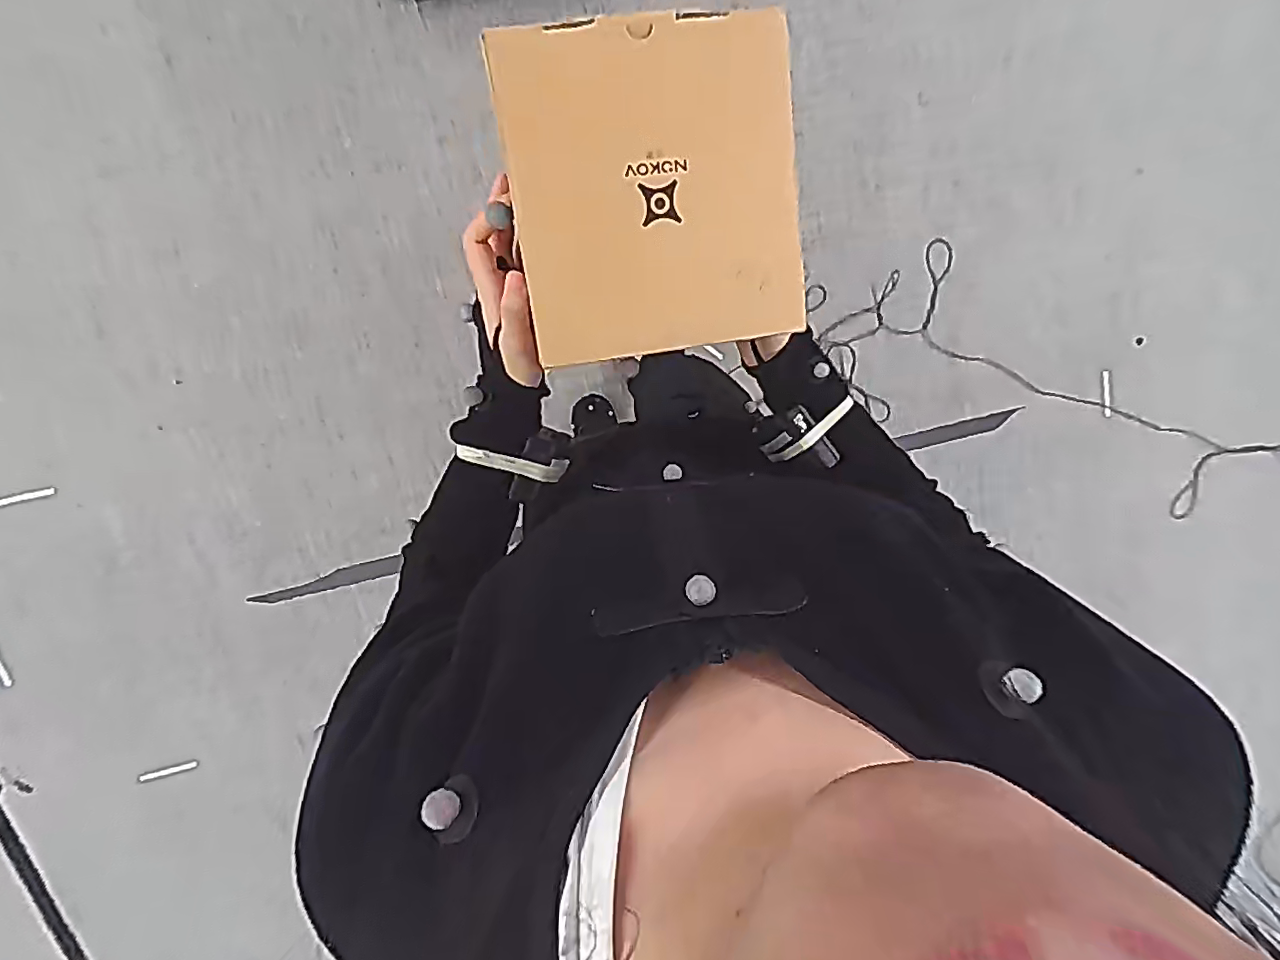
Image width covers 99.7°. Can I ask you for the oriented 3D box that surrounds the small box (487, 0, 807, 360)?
[{"bbox_3d":[0.001,-0.184,0.382,0.168,0.176,0.179,-10,103,-7],"label":"small box"}]
